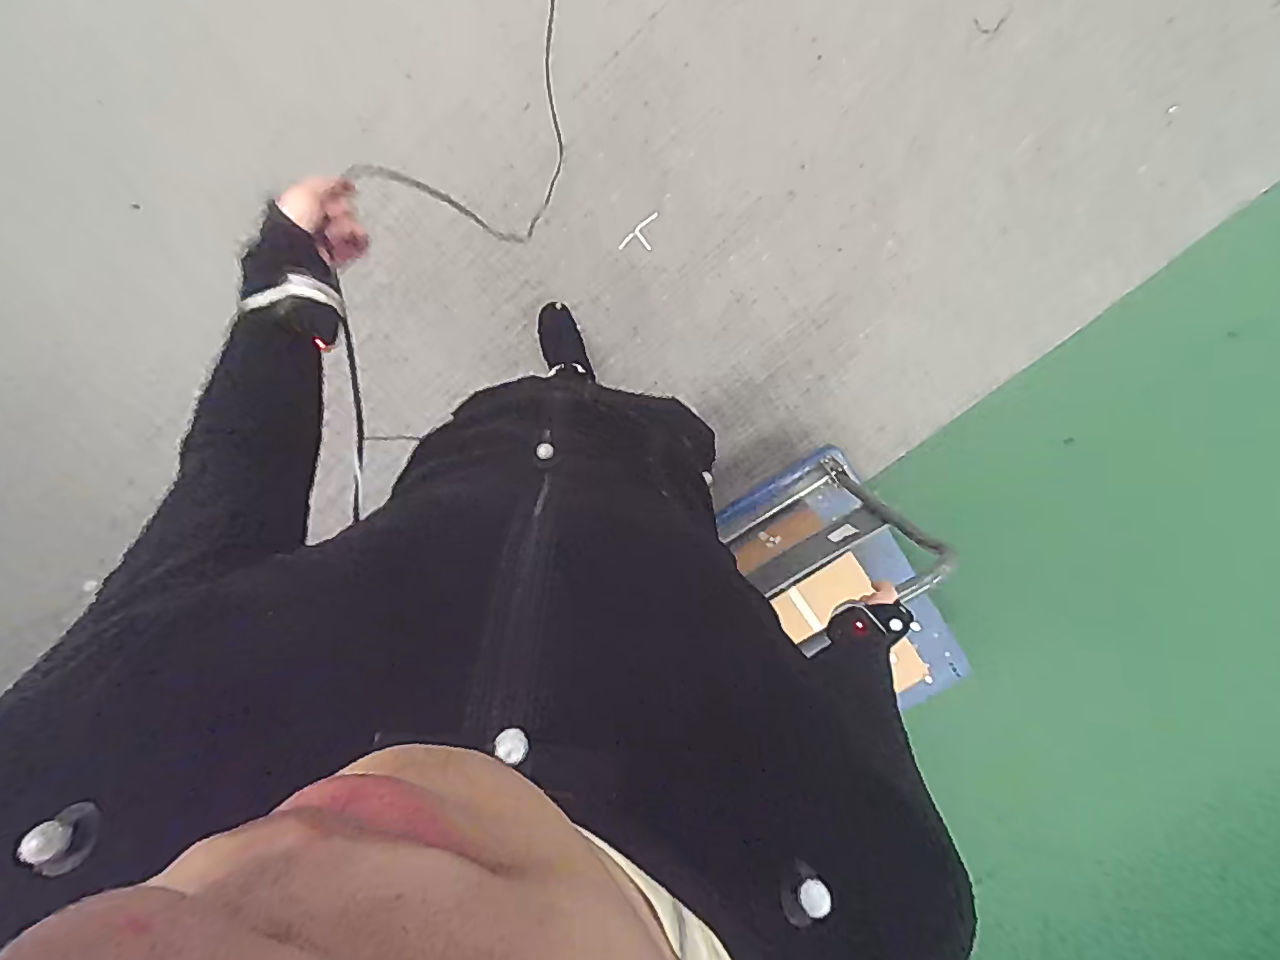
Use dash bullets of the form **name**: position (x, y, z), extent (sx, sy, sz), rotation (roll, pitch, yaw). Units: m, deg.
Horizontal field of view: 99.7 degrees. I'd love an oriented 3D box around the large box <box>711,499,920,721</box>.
- **large box**: position (0.440, 0.327, 1.425), extent (0.320, 0.320, 0.408), rotation (-34, 106, 10)
